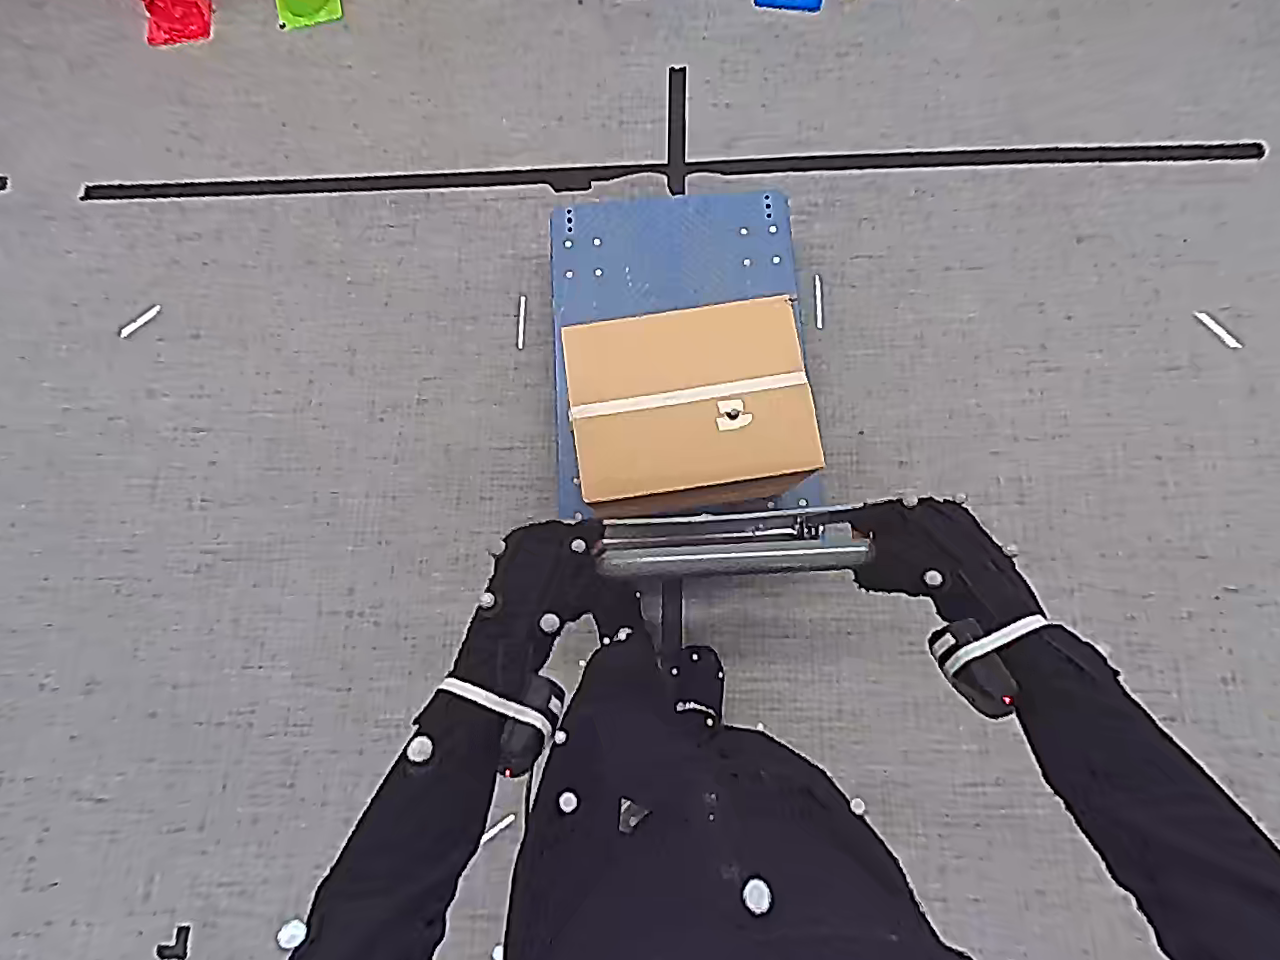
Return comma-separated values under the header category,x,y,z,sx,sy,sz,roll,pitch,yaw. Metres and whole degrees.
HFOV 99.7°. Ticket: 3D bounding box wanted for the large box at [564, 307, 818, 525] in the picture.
category,x,y,z,sx,sy,sz,roll,pitch,yaw
large box,0.084,-0.104,1.082,0.408,0.320,0.320,-8,81,-1
